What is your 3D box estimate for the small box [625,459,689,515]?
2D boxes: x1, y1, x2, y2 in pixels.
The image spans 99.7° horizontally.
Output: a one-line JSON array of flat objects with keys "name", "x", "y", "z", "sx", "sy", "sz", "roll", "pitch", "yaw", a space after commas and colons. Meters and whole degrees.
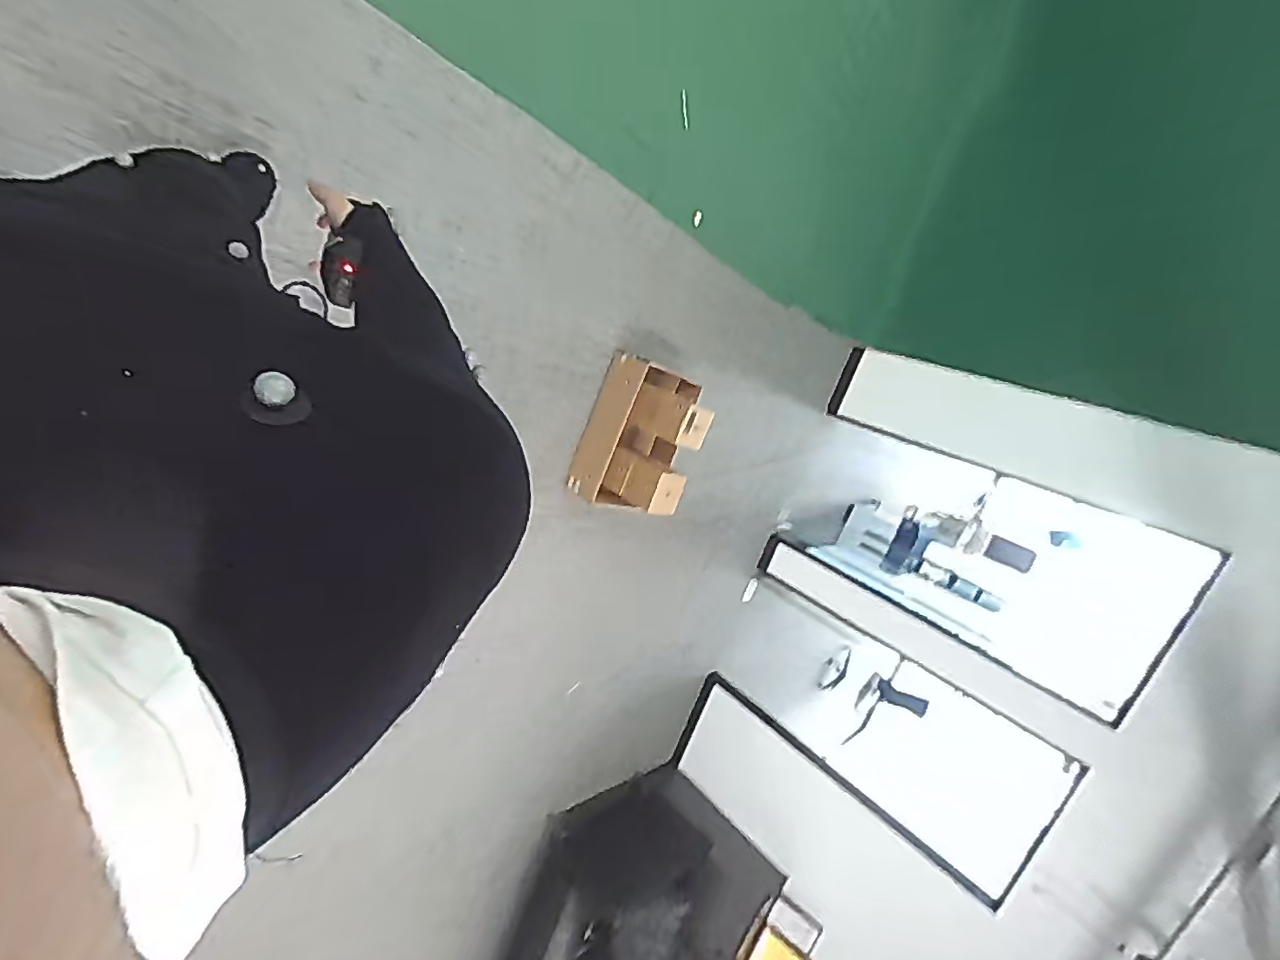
[{"name": "small box", "x": 0.064, "y": 0.026, "z": 2.210, "sx": 0.168, "sy": 0.176, "sz": 0.179, "roll": 7, "pitch": 108, "yaw": -47}]
